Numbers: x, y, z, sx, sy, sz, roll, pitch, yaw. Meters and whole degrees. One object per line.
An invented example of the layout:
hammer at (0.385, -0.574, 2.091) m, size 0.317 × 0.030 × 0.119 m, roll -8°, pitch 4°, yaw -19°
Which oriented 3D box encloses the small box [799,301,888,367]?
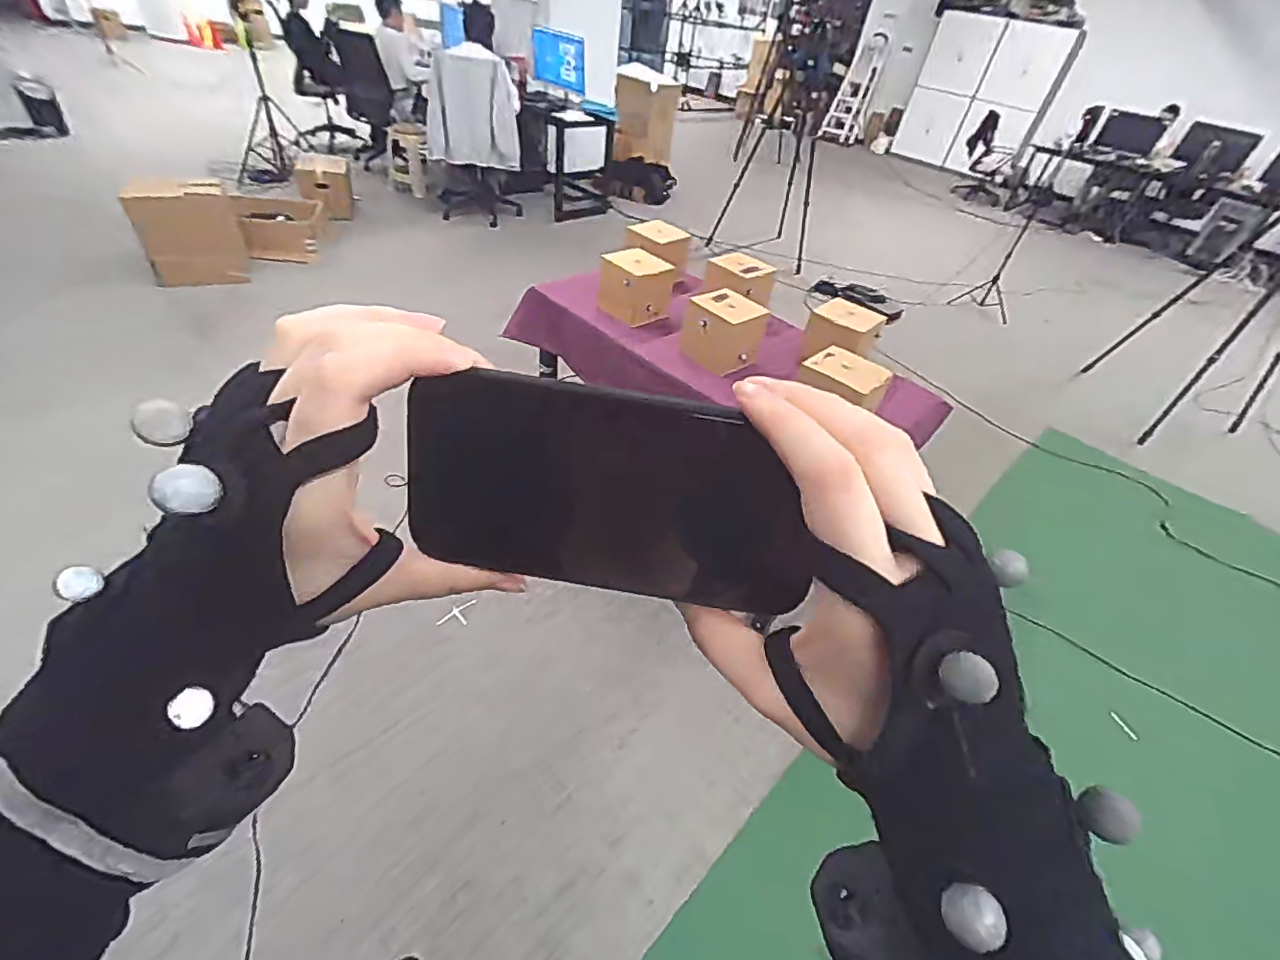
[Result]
small box at (0.607, -0.412, 1.631) m, size 0.168 × 0.176 × 0.179 m, roll 35°, pitch 48°, yaw 27°

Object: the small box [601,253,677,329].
small box at (-0.010, -0.605, 1.731) m, size 0.168 × 0.176 × 0.179 m, roll -28°, pitch 55°, yaw -35°

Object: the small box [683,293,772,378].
small box at (0.246, -0.421, 1.573) m, size 0.168 × 0.176 × 0.179 m, roll -27°, pitch 54°, yaw -34°

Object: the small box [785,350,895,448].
small box at (0.503, -0.202, 1.377) m, size 0.179 × 0.176 × 0.168 m, roll 37°, pitch 48°, yaw 27°
